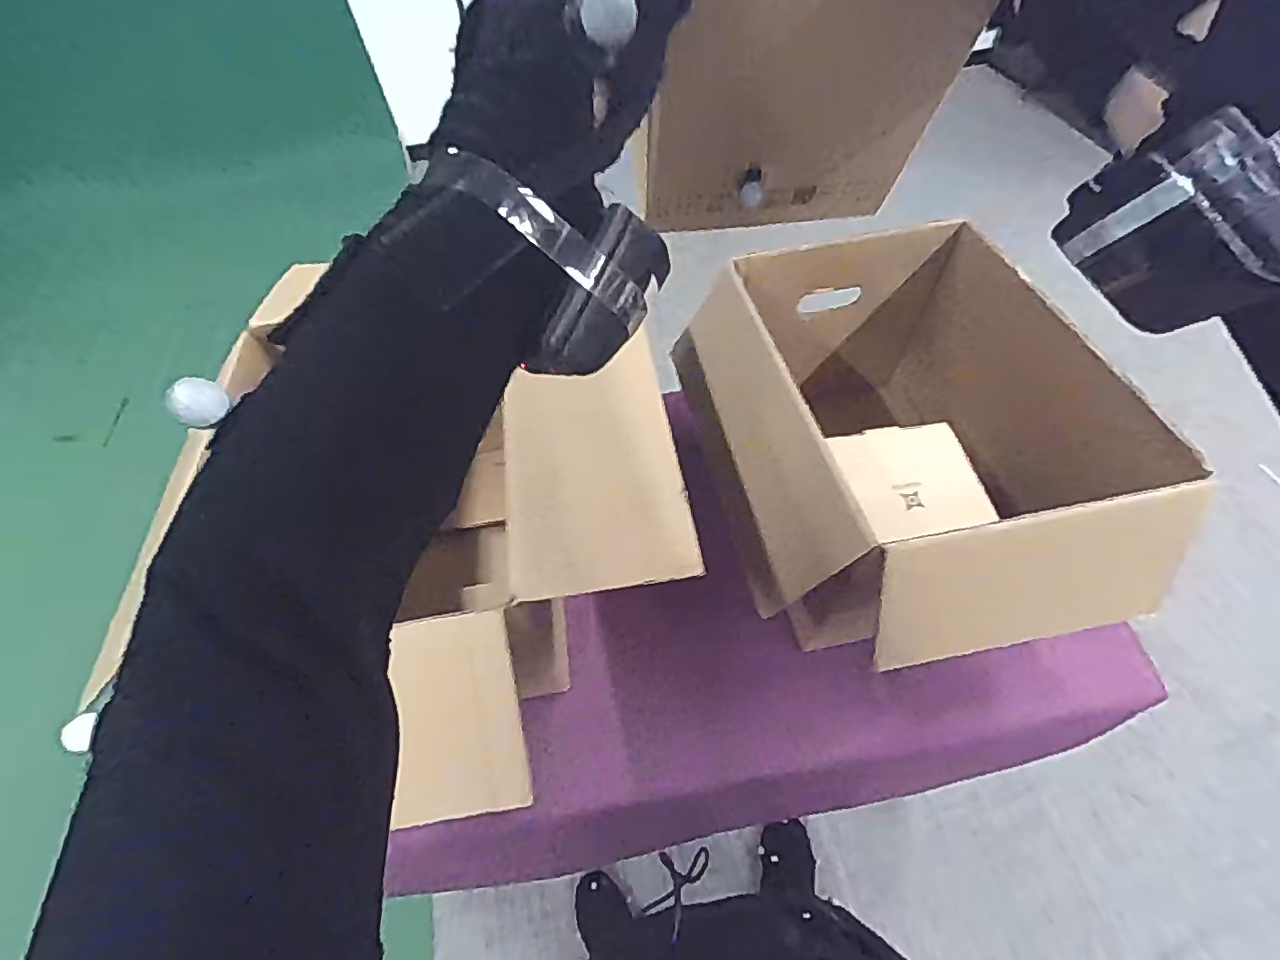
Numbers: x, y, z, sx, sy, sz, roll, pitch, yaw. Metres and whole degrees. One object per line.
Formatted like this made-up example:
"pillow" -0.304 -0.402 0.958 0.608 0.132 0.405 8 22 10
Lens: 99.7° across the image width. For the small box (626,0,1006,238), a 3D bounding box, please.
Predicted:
"small box" 0.080 -0.280 0.327 0.168 0.176 0.179 -7 74 -3
